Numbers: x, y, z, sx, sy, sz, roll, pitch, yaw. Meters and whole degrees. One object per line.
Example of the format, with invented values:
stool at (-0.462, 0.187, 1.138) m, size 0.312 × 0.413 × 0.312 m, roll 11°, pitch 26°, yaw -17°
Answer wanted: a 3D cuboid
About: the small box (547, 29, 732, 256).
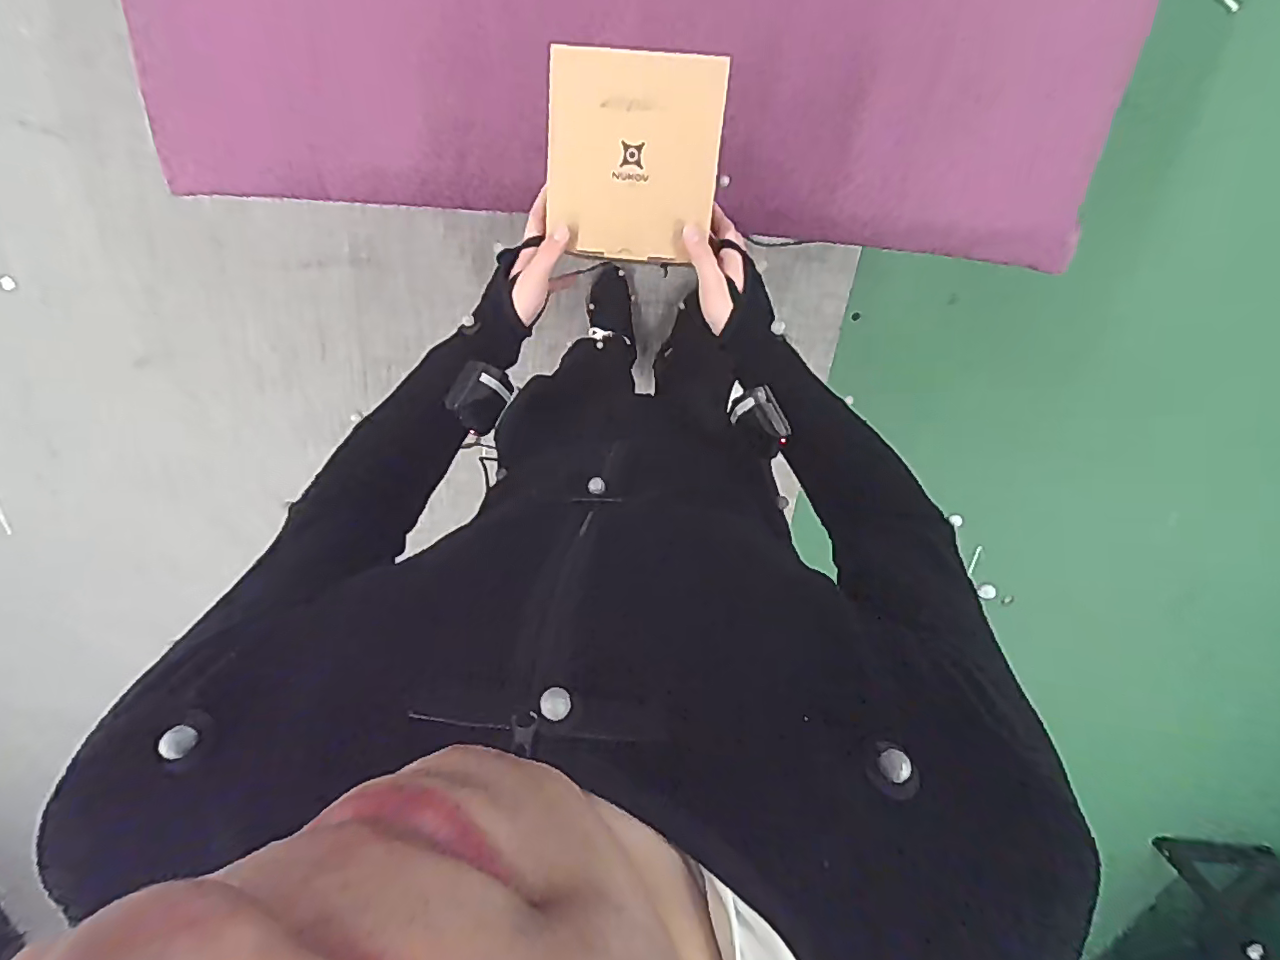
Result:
small box at (0.002, -0.343, 0.585) m, size 0.168 × 0.176 × 0.179 m, roll 6°, pitch 111°, yaw 3°
